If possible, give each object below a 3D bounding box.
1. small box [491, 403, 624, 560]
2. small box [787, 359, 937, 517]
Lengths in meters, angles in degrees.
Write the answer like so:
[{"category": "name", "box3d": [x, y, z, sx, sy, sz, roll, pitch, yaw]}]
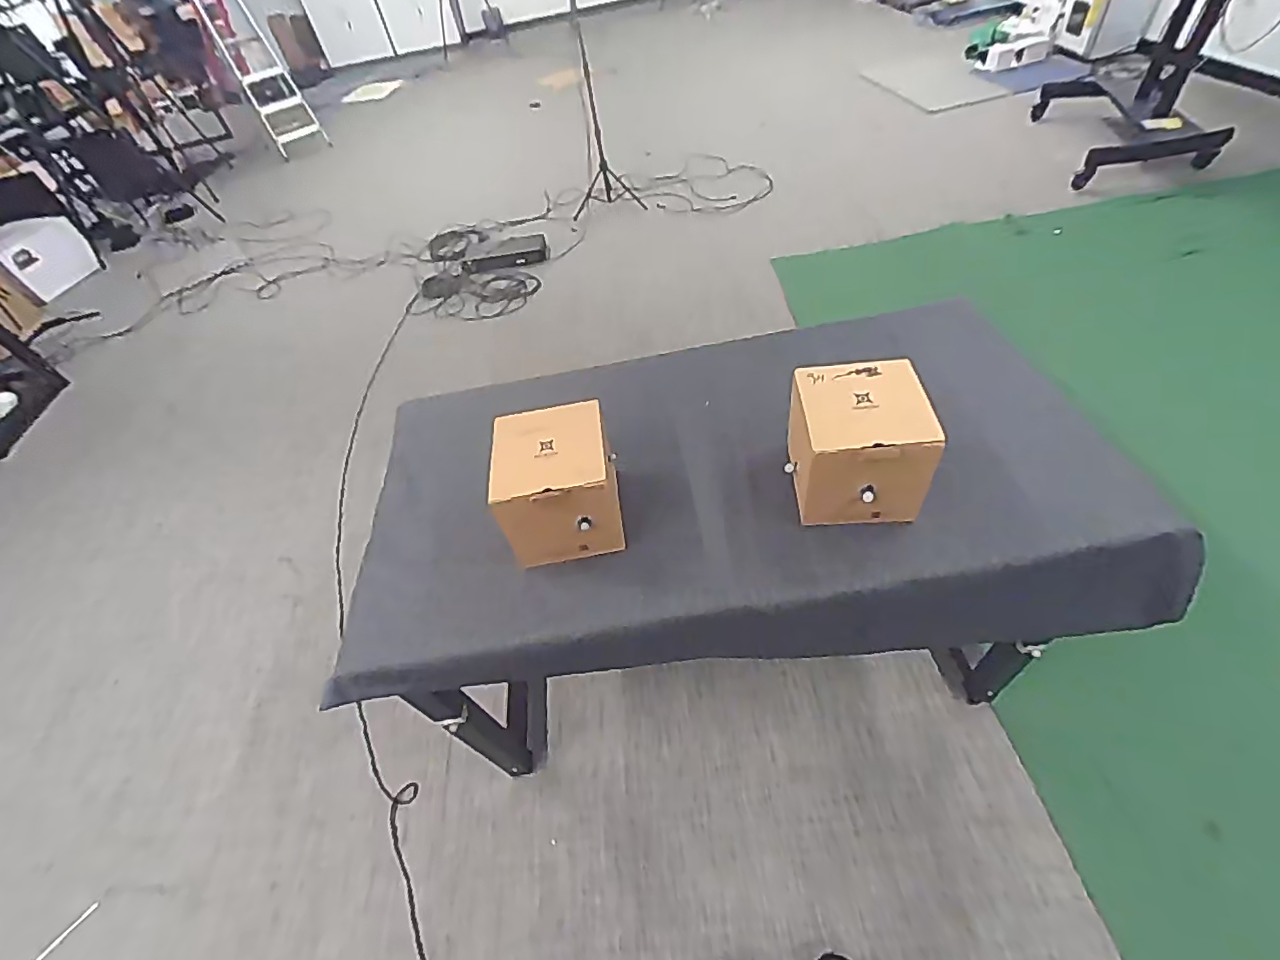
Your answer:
[{"category": "small box", "box3d": [-0.124, 0.009, 0.852, 0.168, 0.176, 0.179, -11, 47, 0]}, {"category": "small box", "box3d": [0.318, -0.056, 0.815, 0.168, 0.176, 0.179, -4, 50, 8]}]
